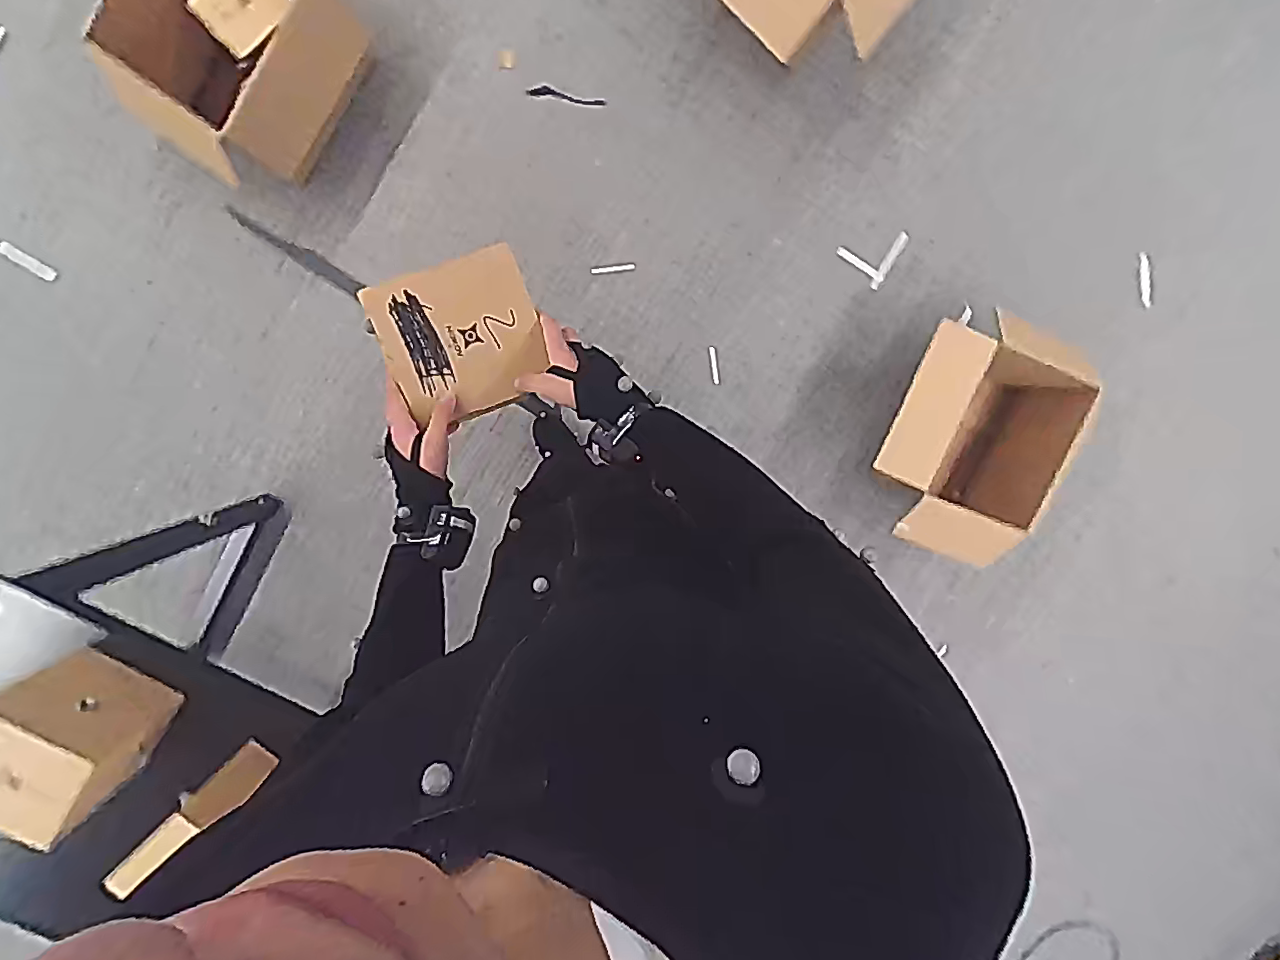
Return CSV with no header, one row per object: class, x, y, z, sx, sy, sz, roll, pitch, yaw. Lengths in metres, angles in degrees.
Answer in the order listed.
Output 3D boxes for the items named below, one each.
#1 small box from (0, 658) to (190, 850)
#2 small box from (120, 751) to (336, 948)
small box,-0.860,0.401,0.826,0.179,0.176,0.168,33,98,-9
small box,-0.645,0.575,0.871,0.168,0.176,0.179,-45,100,6
